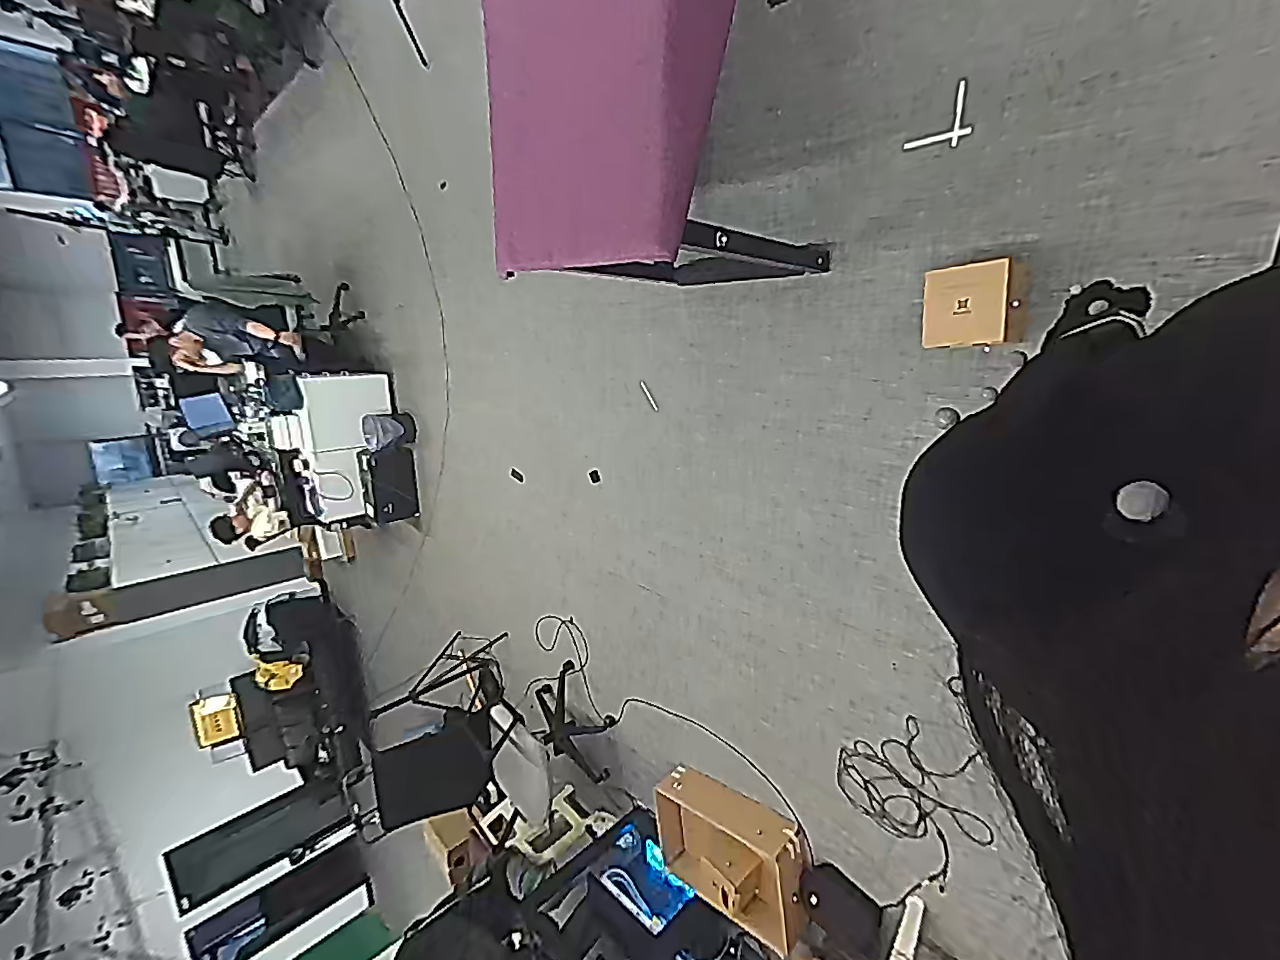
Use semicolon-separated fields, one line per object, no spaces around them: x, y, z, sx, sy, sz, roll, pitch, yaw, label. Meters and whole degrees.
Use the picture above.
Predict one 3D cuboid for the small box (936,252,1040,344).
0.796;-0.408;1.236;0.168;0.176;0.179;7;104;46;small box
